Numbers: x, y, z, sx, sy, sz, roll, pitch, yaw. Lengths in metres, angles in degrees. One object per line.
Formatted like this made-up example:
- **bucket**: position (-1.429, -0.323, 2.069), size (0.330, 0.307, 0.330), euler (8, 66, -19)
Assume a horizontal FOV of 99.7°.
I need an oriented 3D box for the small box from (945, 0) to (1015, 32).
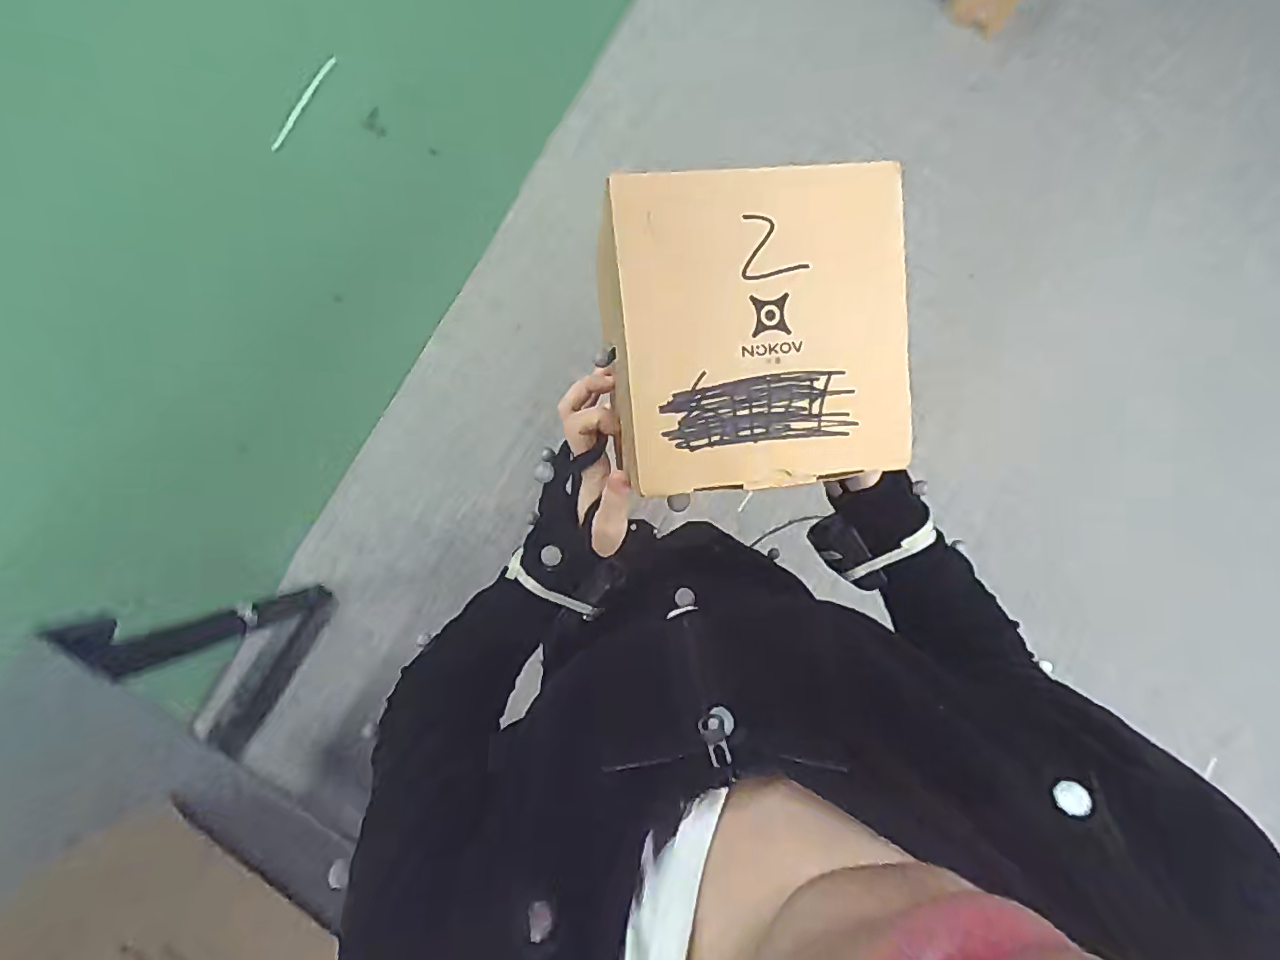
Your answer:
- **small box**: position (0.992, -1.416, 1.497), size (0.168, 0.176, 0.179), euler (31, 89, 0)
